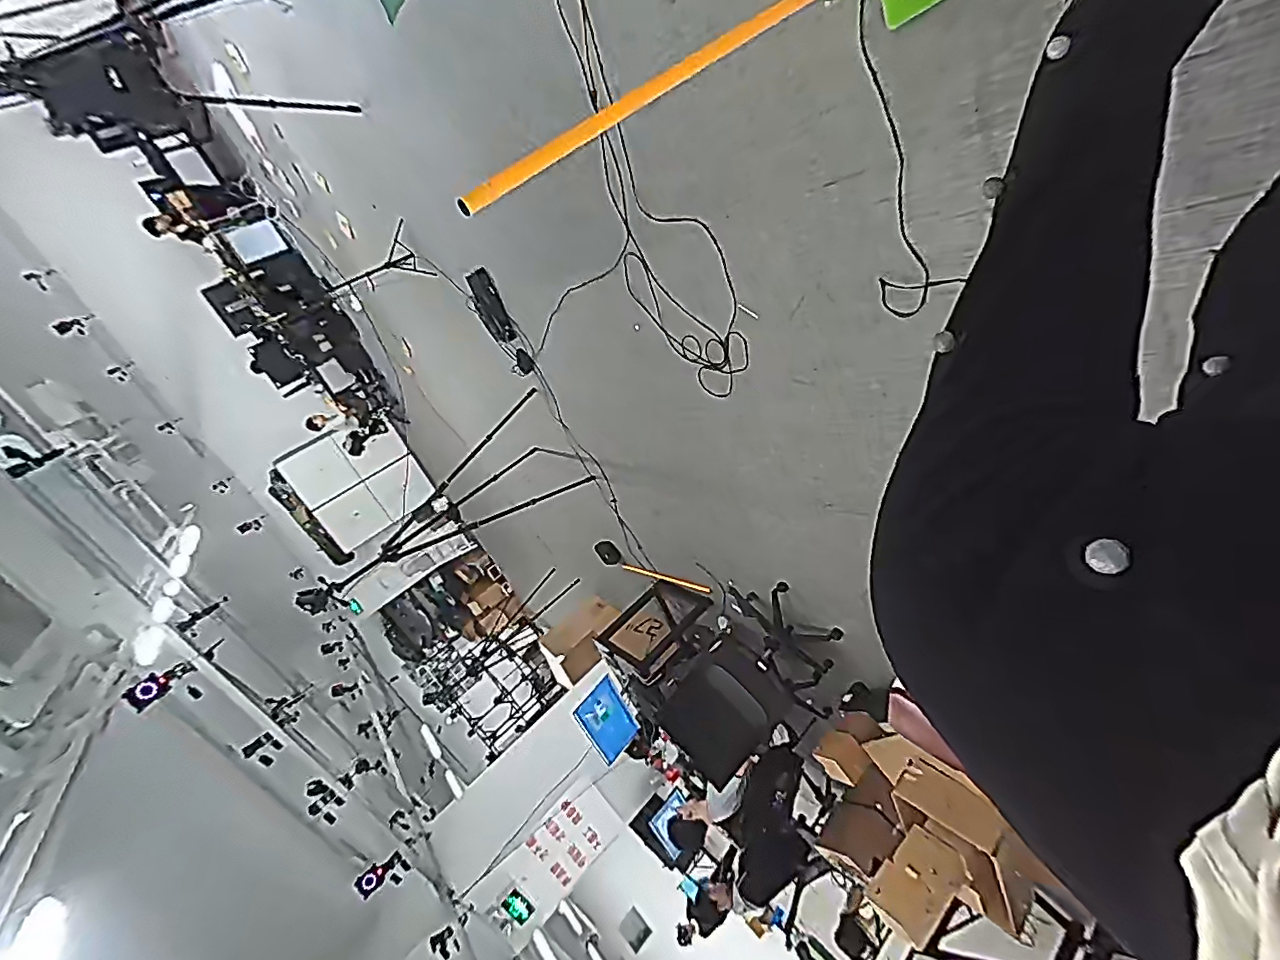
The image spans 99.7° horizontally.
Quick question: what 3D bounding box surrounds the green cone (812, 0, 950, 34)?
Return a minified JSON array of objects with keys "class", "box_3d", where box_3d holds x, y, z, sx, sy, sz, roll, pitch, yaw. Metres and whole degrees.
[{"class":"green cone","box_3d":[0.471,-1.016,1.084,0.202,0.368,0.200,10,133,57]}]
